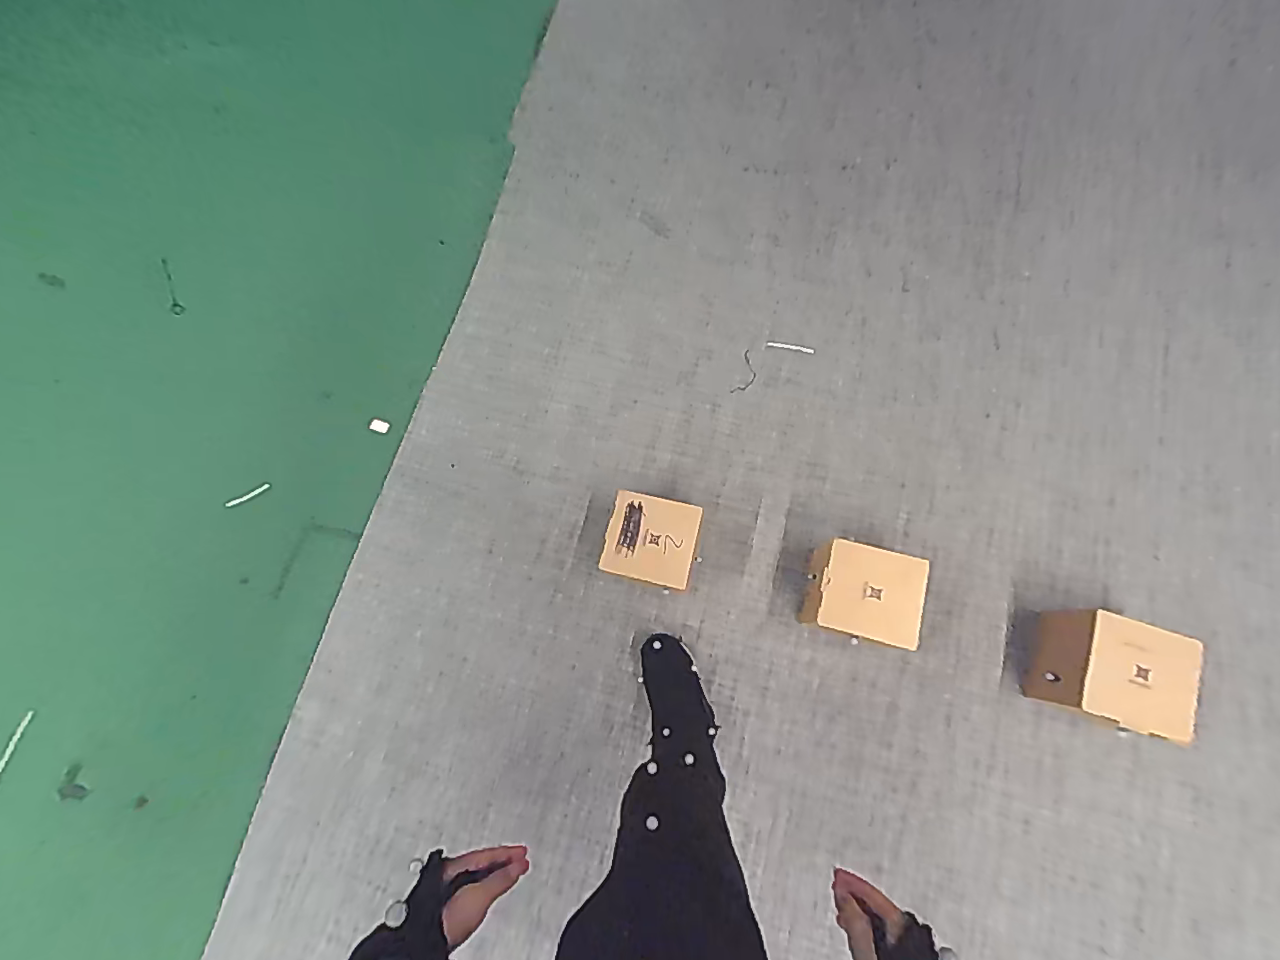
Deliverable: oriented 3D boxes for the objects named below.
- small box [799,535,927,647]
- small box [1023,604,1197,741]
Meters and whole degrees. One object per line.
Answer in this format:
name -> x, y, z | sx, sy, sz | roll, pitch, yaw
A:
small box -> 0.425, 0.216, 1.054 | 0.179, 0.176, 0.168 | 14, 77, 10
small box -> 0.831, 0.337, 0.974 | 0.168, 0.176, 0.179 | 18, 77, 10
